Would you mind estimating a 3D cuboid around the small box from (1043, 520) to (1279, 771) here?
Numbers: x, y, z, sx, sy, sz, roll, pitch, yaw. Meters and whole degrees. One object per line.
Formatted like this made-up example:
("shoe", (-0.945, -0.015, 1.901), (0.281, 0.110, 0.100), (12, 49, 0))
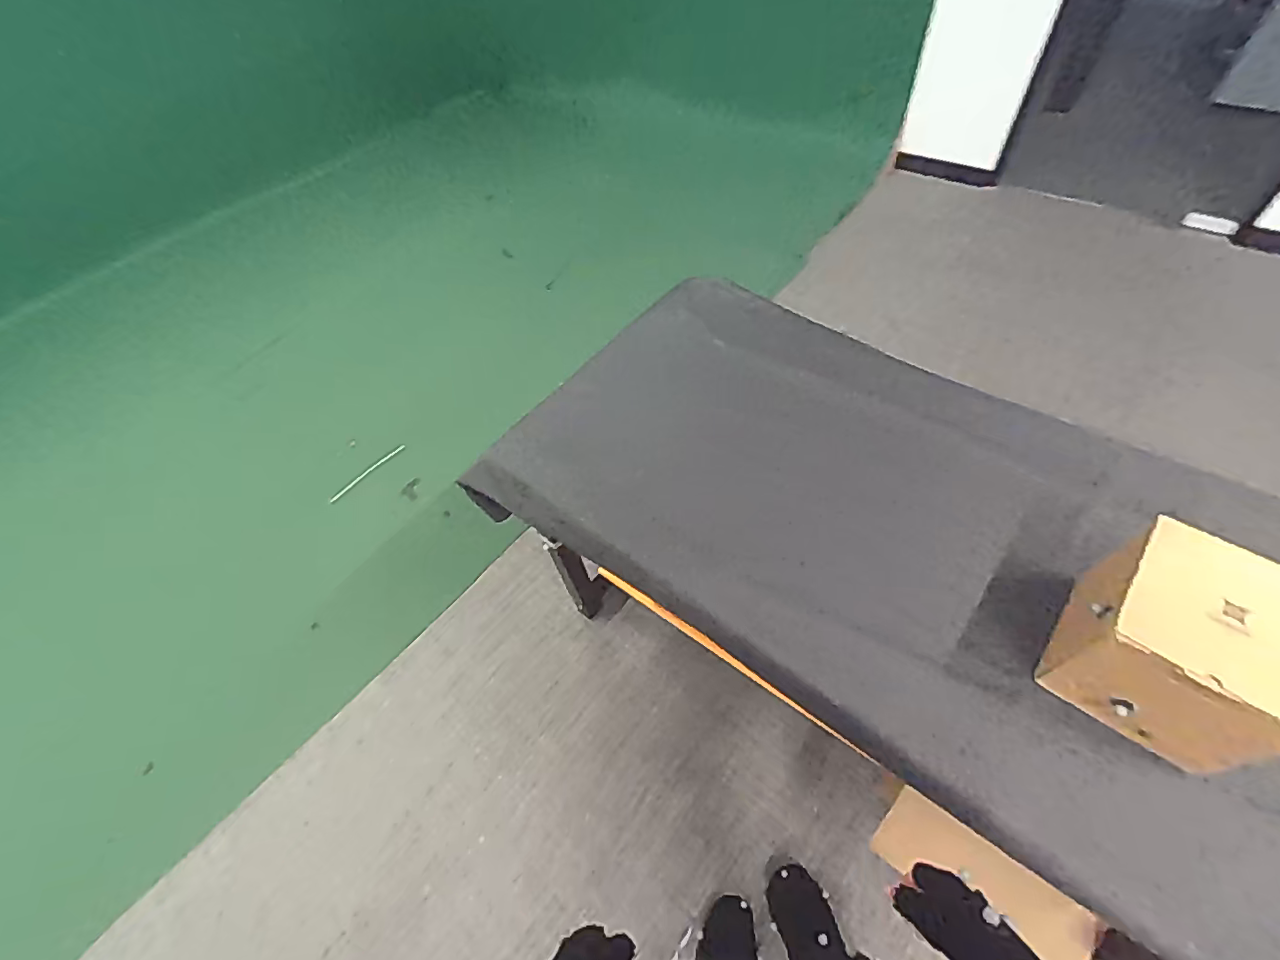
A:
("small box", (0.594, 0.184, 0.597), (0.168, 0.176, 0.179), (33, 65, 26))
